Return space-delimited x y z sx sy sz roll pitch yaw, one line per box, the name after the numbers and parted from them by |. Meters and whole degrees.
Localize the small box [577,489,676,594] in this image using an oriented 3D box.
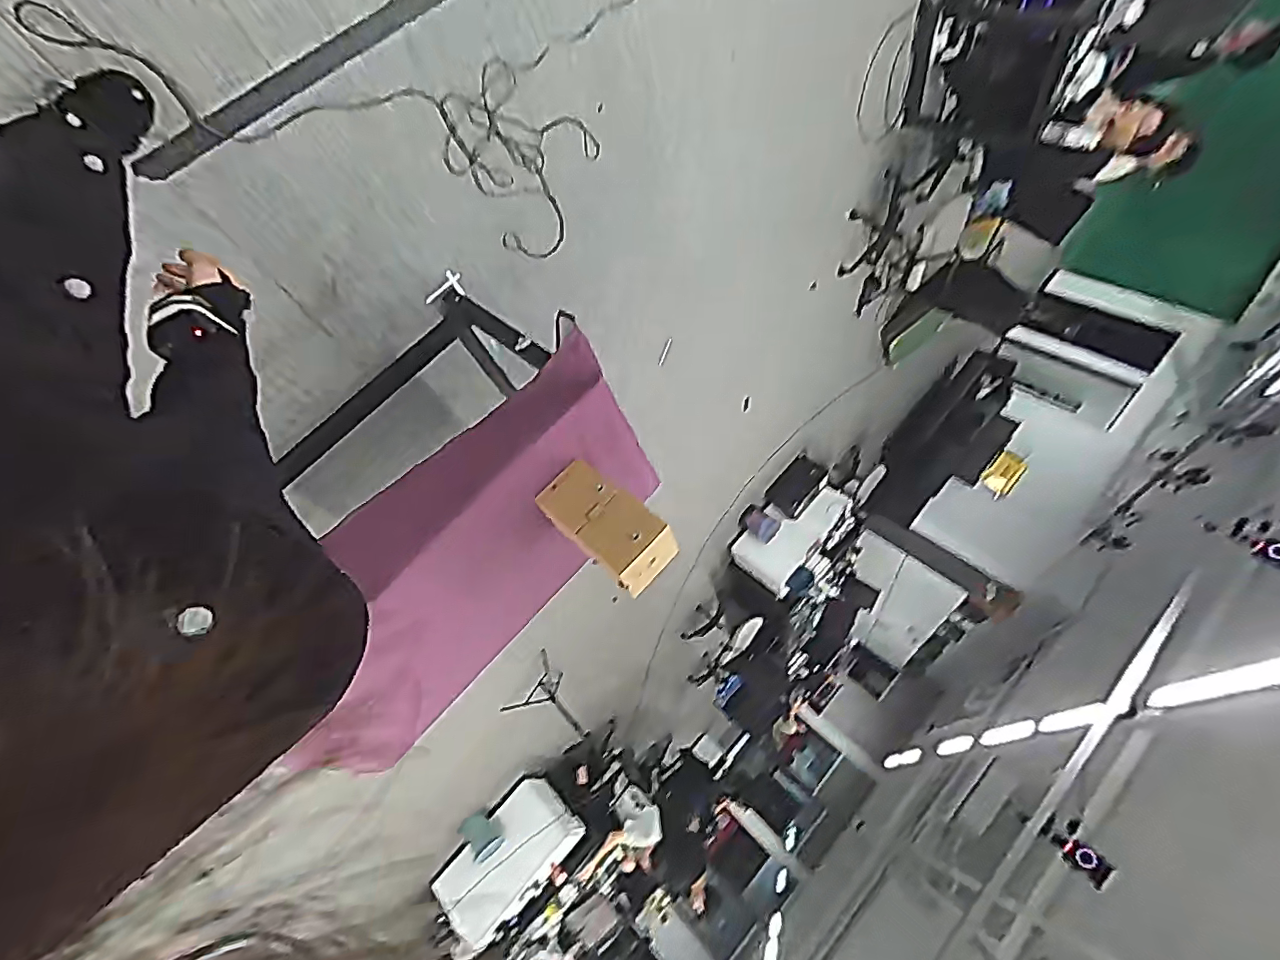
-0.033 0.155 1.396 0.179 0.176 0.168 -44 149 -14 | small box
